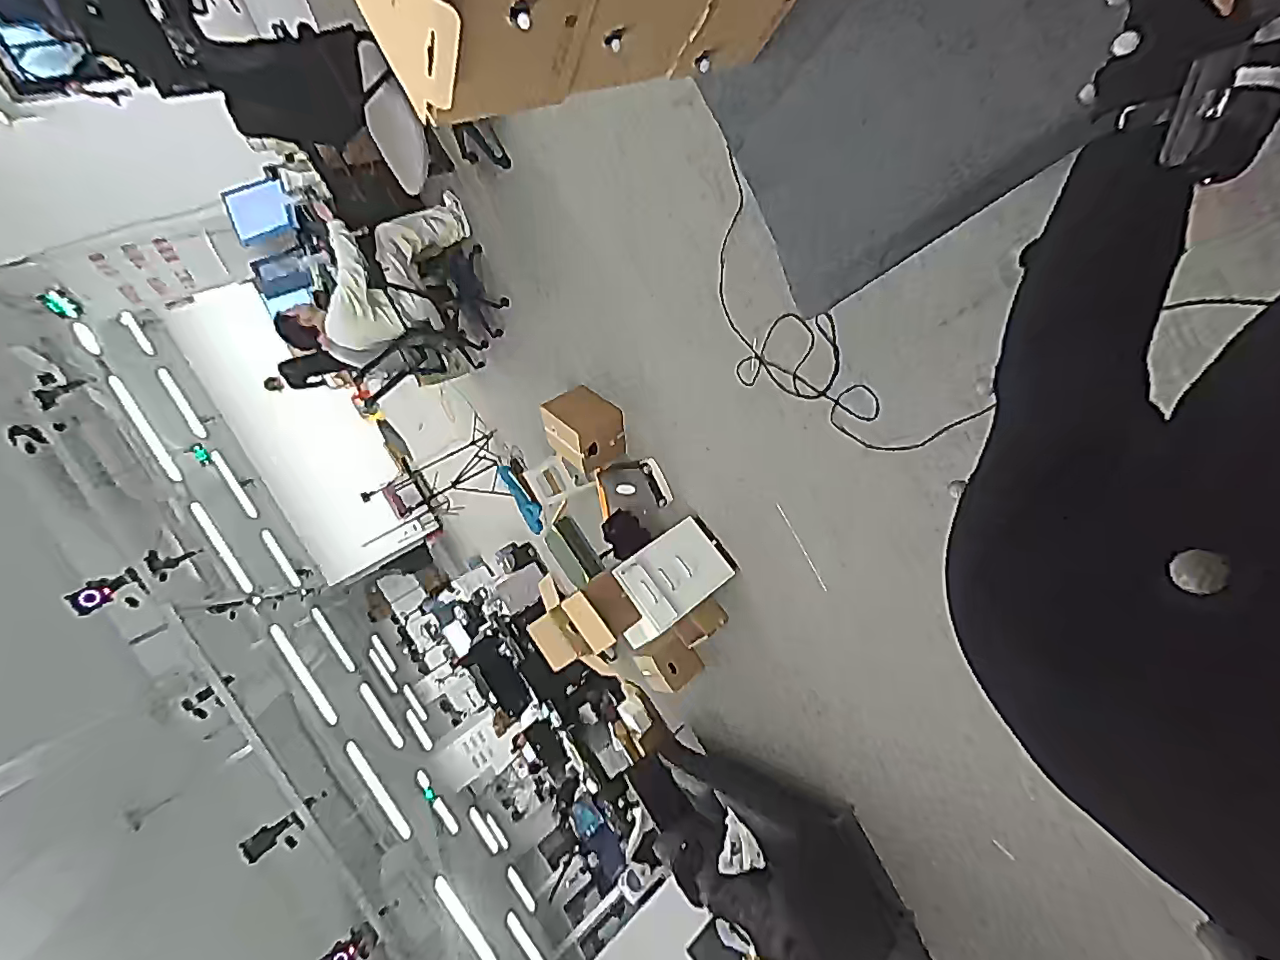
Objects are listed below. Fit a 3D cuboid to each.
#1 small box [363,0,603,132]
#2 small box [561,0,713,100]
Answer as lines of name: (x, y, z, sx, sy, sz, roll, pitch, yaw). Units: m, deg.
small box: (-0.156, -0.491, 0.529, 0.179, 0.176, 0.168, 60, 152, -1)
small box: (-0.029, -0.569, 0.594, 0.168, 0.176, 0.179, 60, 153, -5)
